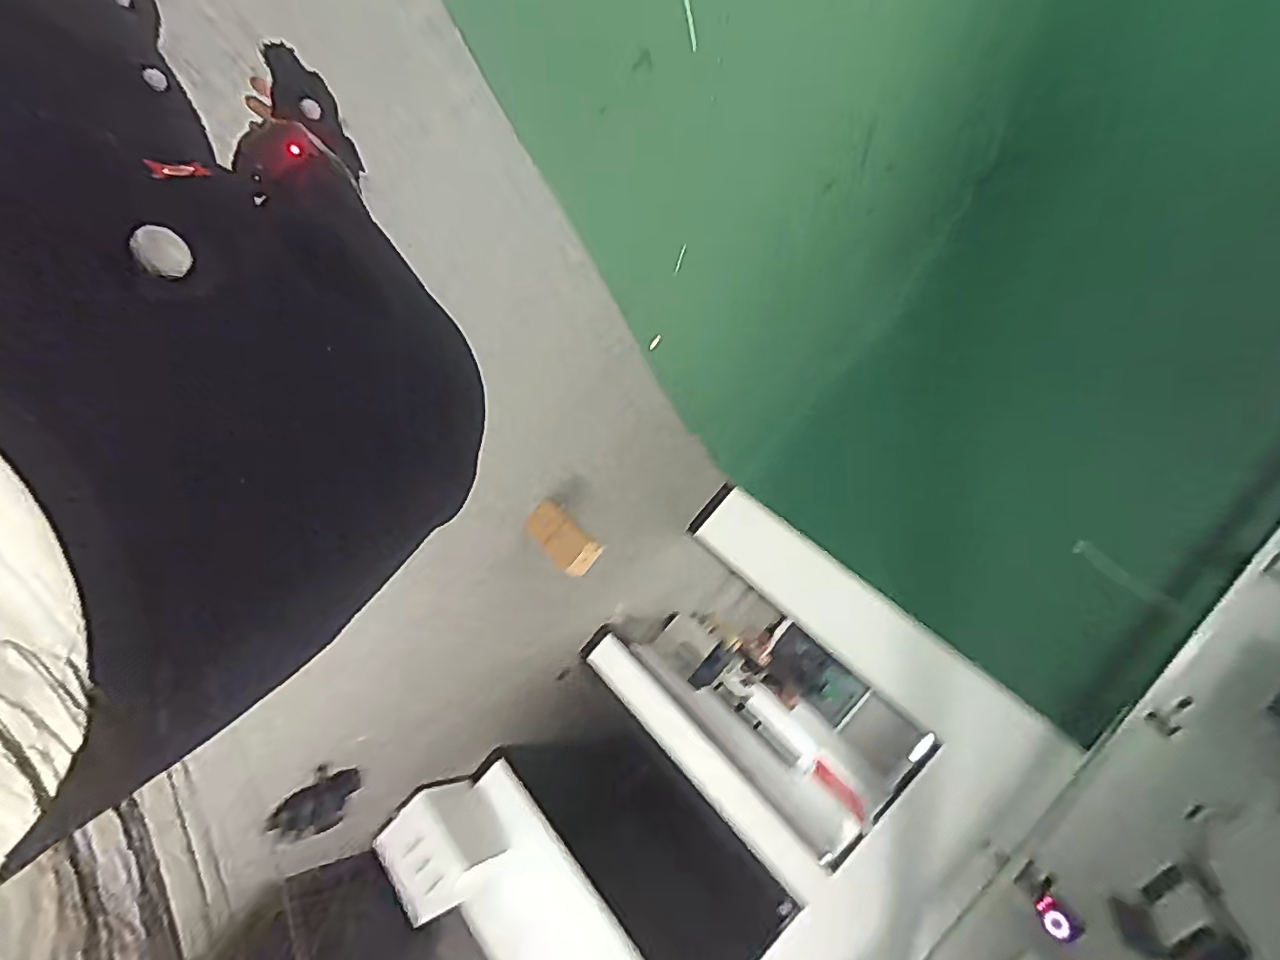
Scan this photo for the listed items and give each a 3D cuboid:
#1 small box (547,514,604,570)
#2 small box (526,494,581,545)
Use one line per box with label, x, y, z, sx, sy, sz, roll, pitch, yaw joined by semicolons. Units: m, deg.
small box;-0.307;0.288;2.505;0.179;0.176;0.168;-51;153;2
small box;-0.418;0.197;2.583;0.179;0.176;0.168;-53;153;6
